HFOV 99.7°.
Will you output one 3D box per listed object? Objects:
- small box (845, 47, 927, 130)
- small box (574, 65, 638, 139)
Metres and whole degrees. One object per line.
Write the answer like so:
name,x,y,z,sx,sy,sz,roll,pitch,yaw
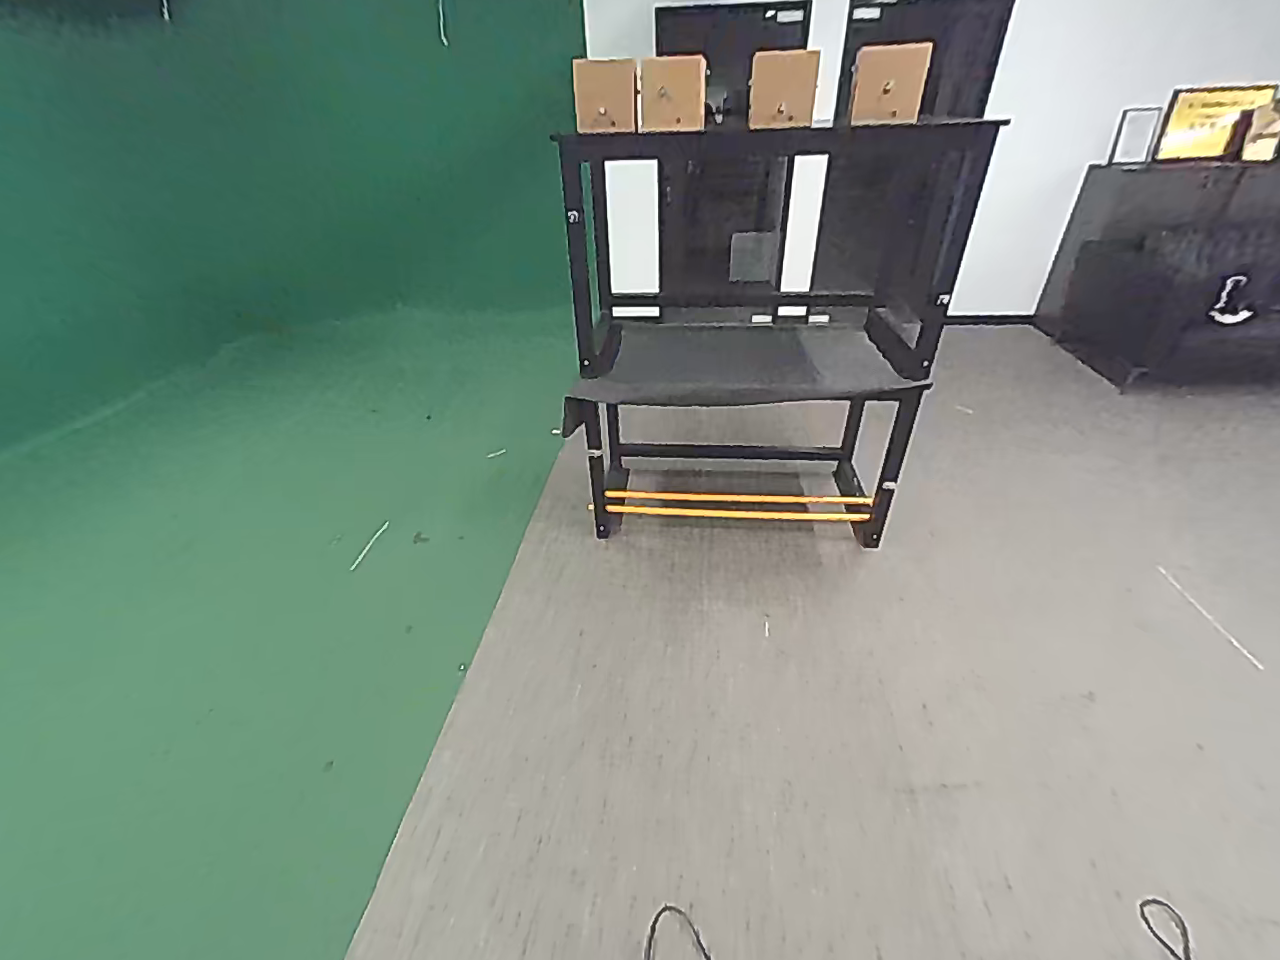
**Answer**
small box,0.663,-1.063,1.477,0.168,0.176,0.179,7,35,12
small box,-0.094,-1.097,1.572,0.168,0.176,0.179,1,35,4
